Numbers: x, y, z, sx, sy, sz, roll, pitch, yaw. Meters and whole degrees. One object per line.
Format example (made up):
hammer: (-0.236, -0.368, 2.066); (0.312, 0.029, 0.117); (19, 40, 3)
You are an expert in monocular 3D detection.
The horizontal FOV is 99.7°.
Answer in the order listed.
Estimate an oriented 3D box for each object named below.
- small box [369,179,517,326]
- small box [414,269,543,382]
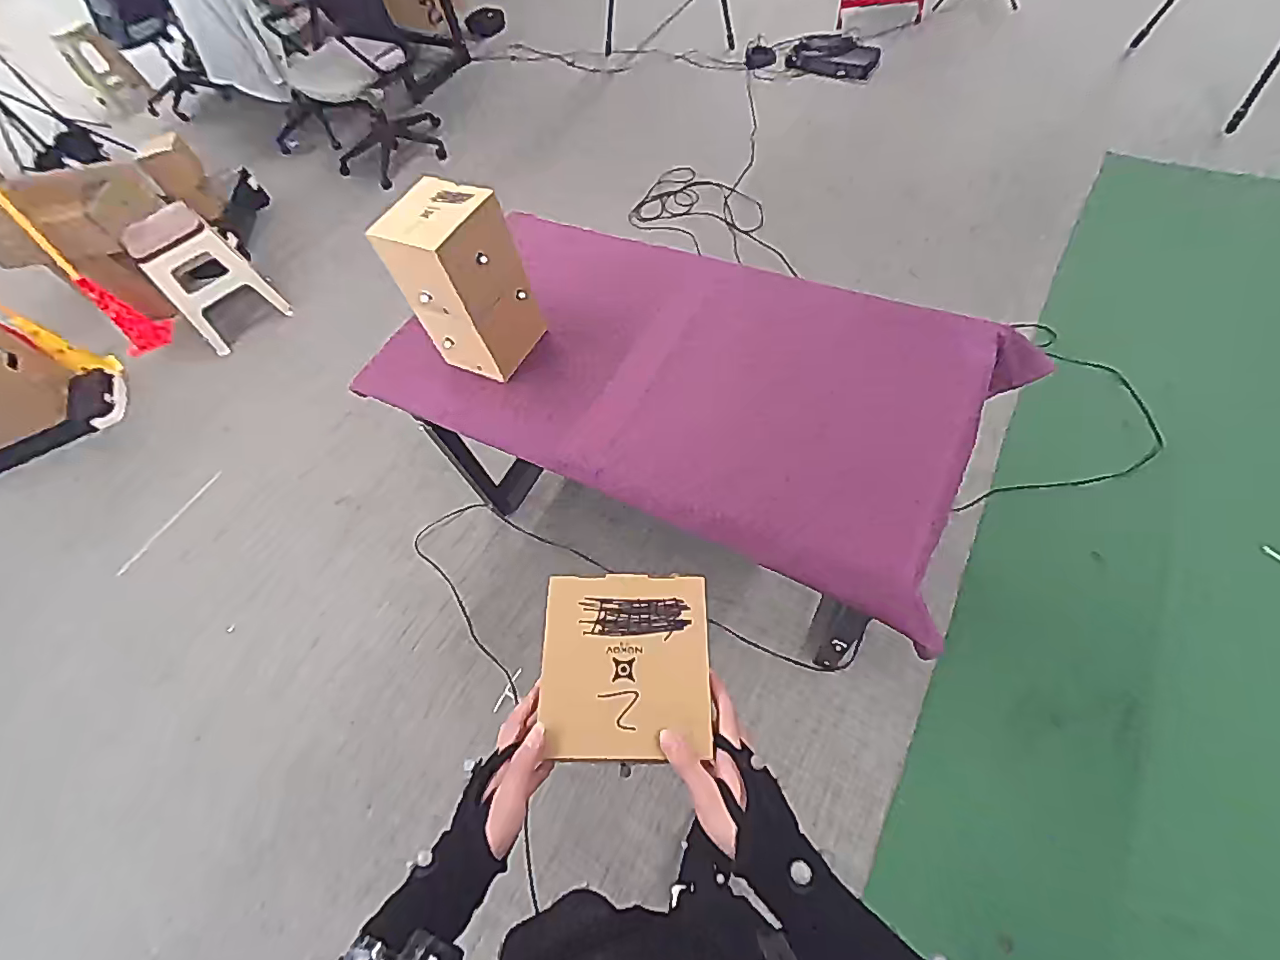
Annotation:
small box: (-0.352, -0.423, 1.011); (0.168, 0.176, 0.179); (21, 65, 21)
small box: (-0.331, -0.338, 1.150); (0.168, 0.176, 0.179); (21, 64, 20)
